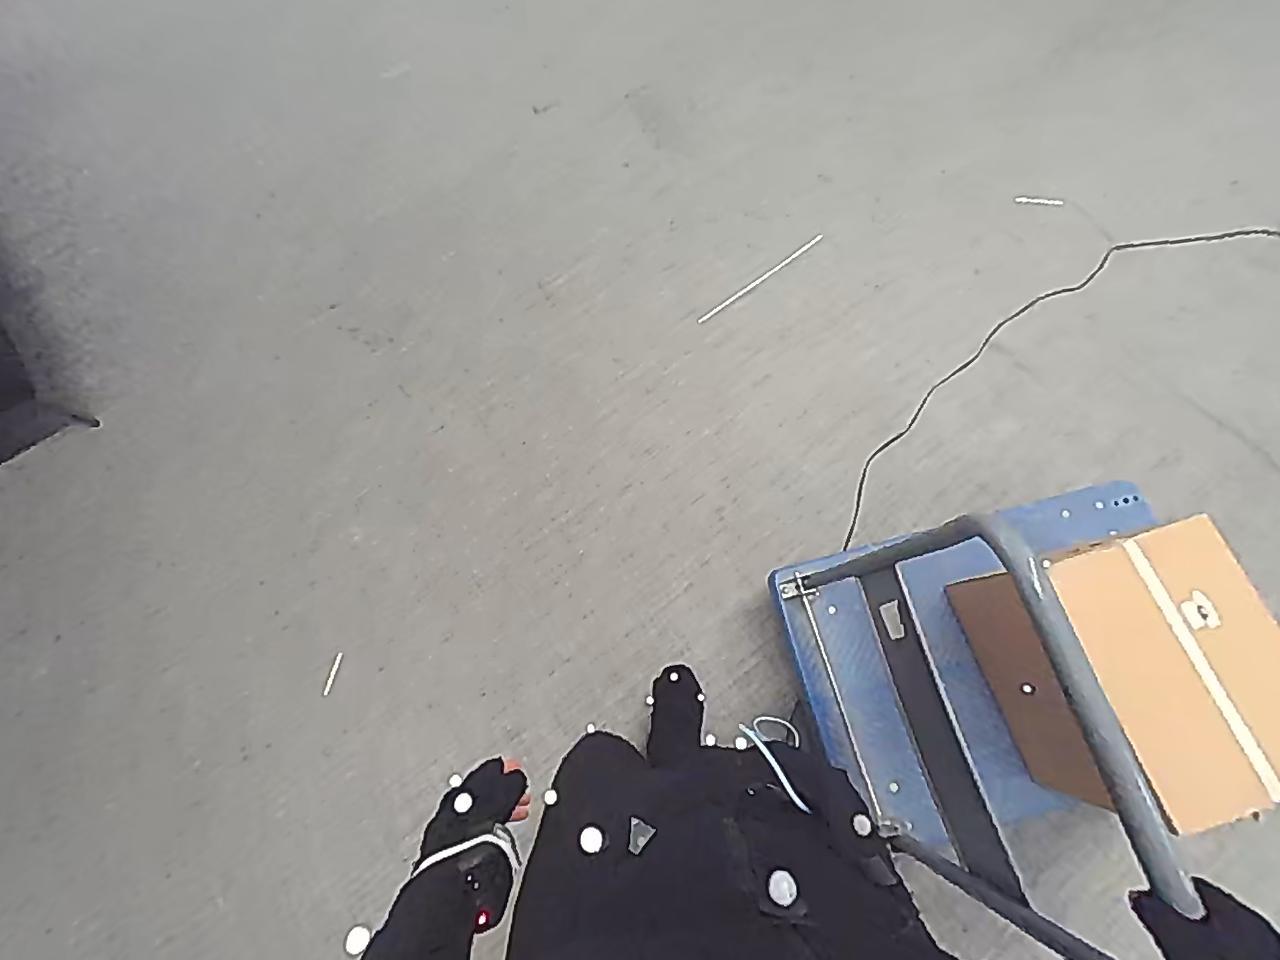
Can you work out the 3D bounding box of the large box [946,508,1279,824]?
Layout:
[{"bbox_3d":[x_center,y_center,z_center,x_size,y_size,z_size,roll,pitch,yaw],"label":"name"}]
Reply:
[{"bbox_3d":[0.856,0.315,0.982,0.320,0.320,0.408,-18,73,-4],"label":"large box"}]
